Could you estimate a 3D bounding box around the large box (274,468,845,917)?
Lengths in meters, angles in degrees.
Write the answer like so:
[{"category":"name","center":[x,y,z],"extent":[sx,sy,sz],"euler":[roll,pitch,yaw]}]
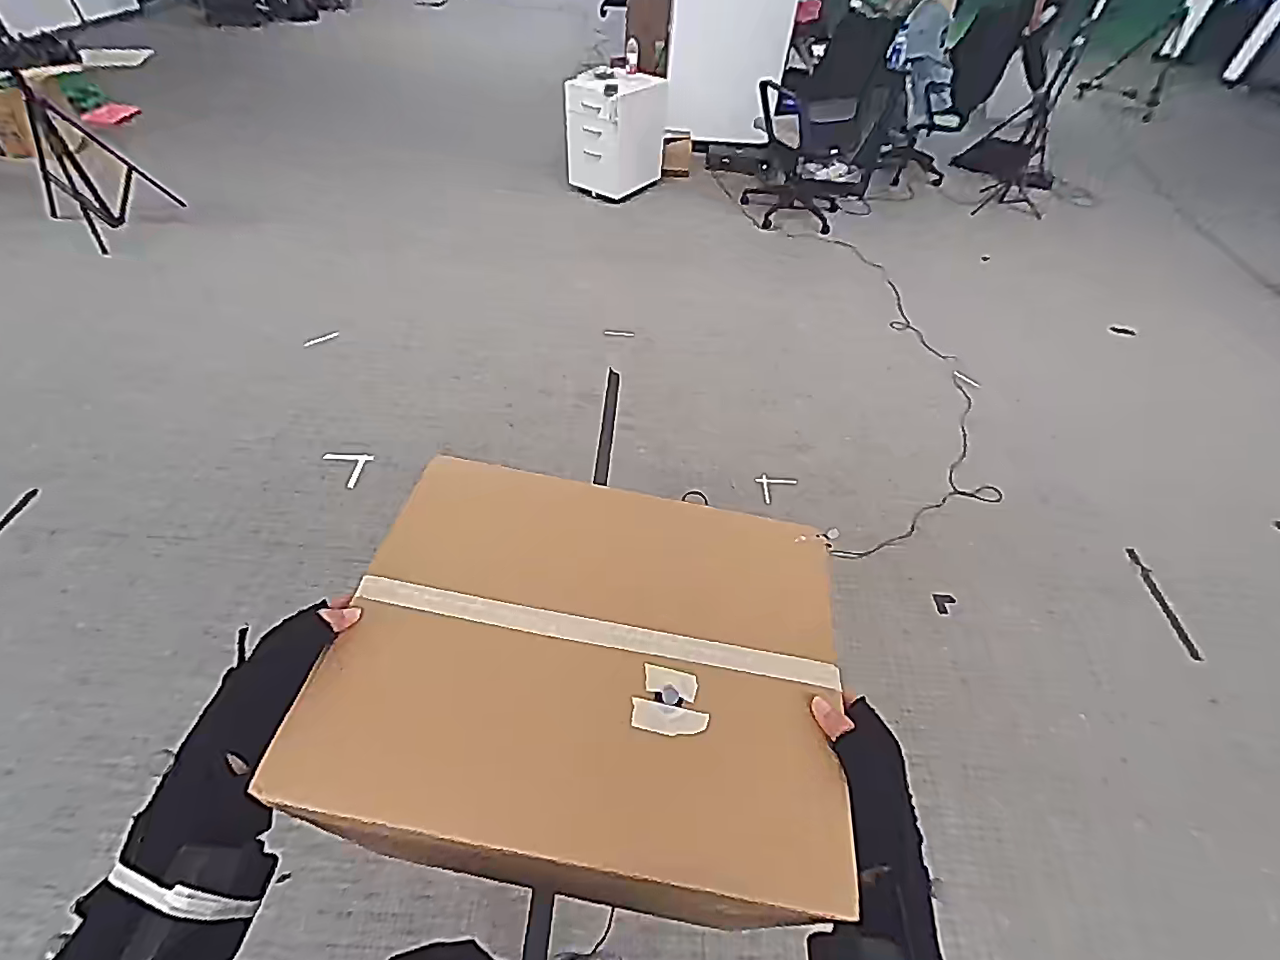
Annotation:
[{"category":"large box","center":[-0.053,0.229,0.572],"extent":[0.408,0.320,0.320],"euler":[11,50,1]}]
